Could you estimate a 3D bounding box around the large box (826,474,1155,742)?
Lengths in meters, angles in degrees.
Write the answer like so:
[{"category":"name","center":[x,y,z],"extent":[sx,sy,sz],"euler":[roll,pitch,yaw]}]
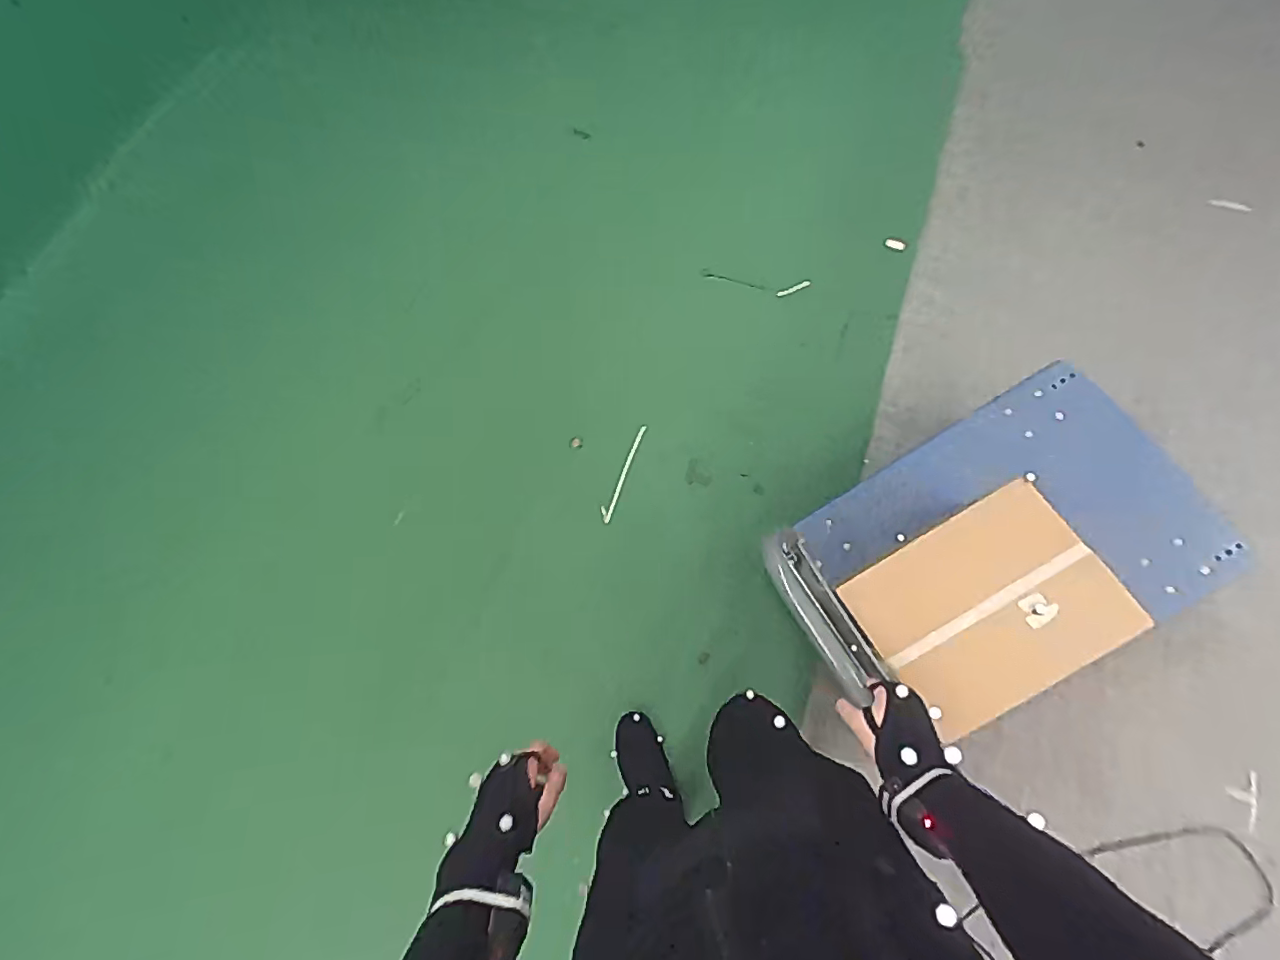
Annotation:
[{"category":"large box","center":[0.648,0.254,1.095],"extent":[0.408,0.320,0.320],"euler":[-33,73,3]}]
